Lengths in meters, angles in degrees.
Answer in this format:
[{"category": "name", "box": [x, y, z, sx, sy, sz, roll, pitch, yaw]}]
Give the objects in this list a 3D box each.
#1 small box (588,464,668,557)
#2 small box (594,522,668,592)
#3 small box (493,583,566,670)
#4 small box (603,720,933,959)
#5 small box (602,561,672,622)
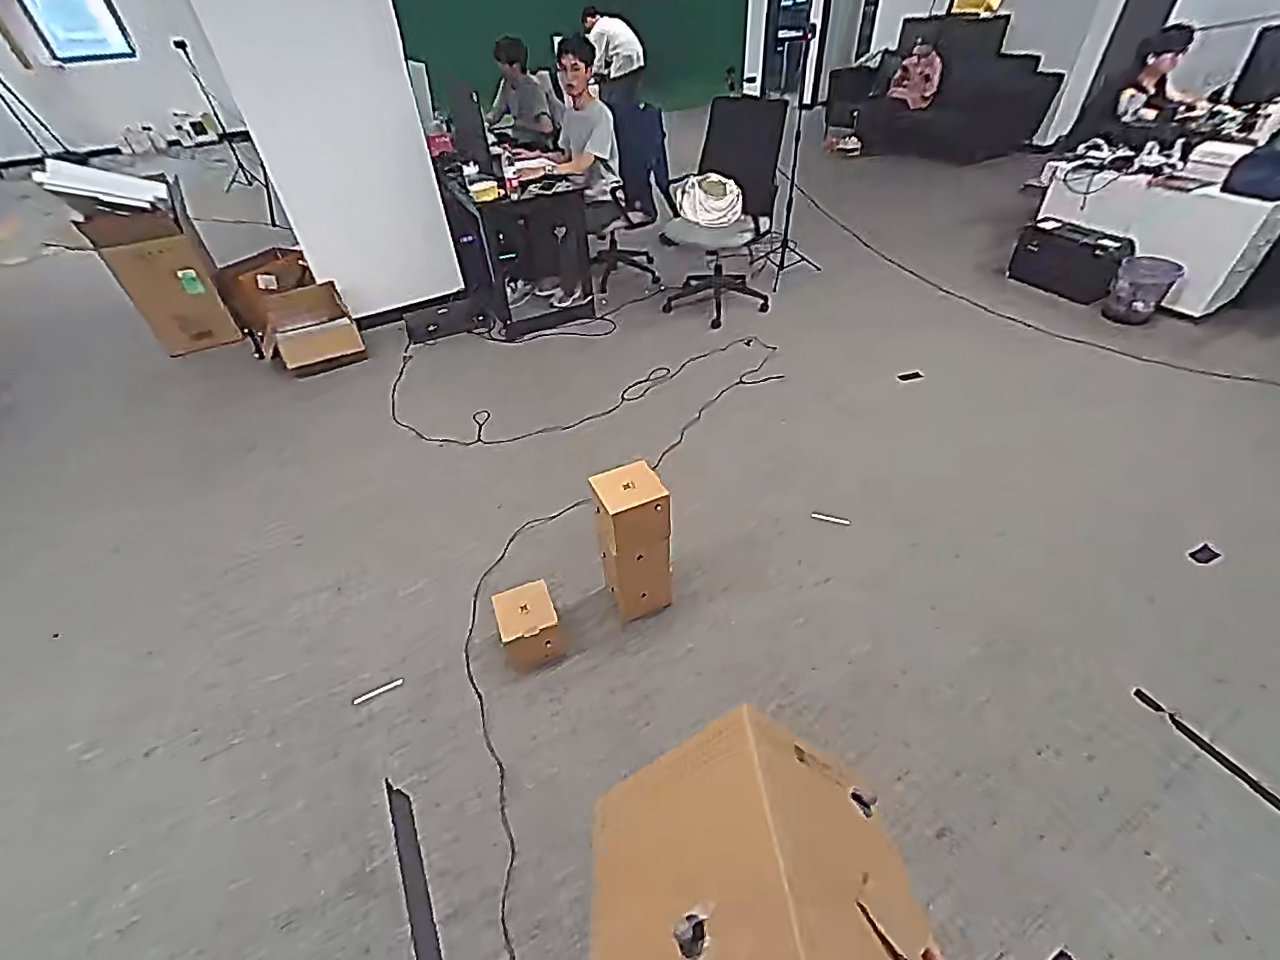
[{"category": "small box", "box": [-0.029, 0.088, 1.520, 0.179, 0.176, 0.168, -19, 44, -17]}, {"category": "small box", "box": [-0.022, 0.210, 1.628, 0.179, 0.176, 0.168, -18, 44, -16]}, {"category": "small box", "box": [-0.330, 0.450, 1.635, 0.168, 0.176, 0.179, -17, 43, -15]}, {"category": "small box", "box": [0.082, 0.314, 0.401, 0.179, 0.168, 0.176, -44, 23, 21]}, {"category": "small box", "box": [-0.006, 0.328, 1.743, 0.179, 0.176, 0.168, -20, 45, -16]}]
